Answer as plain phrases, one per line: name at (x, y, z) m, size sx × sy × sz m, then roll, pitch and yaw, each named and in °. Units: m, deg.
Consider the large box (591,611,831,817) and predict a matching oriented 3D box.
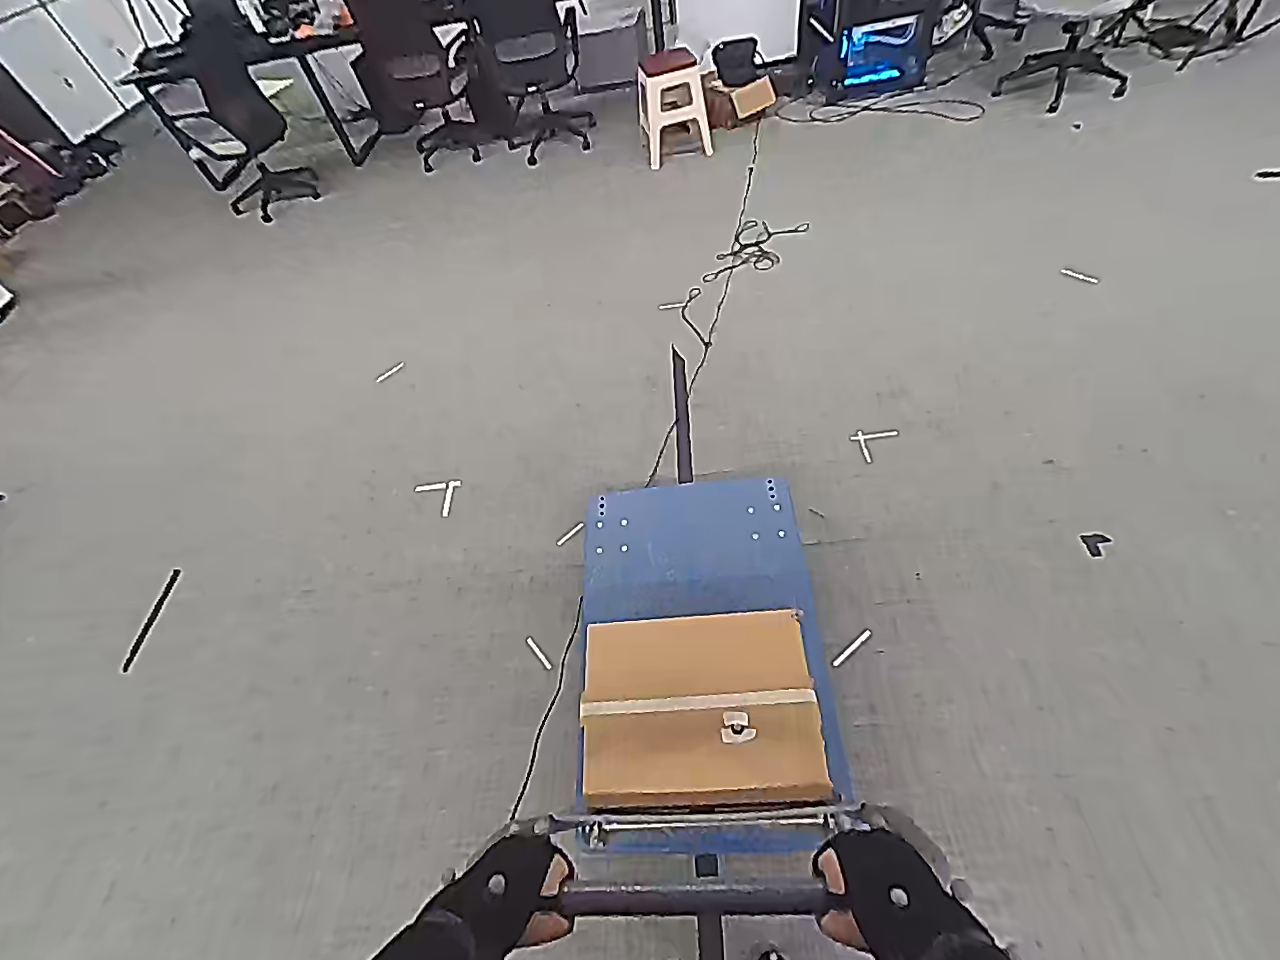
large box at (0.126, 0.483, 1.091) m, size 0.408 × 0.320 × 0.320 m, roll -6°, pitch 56°, yaw 5°
